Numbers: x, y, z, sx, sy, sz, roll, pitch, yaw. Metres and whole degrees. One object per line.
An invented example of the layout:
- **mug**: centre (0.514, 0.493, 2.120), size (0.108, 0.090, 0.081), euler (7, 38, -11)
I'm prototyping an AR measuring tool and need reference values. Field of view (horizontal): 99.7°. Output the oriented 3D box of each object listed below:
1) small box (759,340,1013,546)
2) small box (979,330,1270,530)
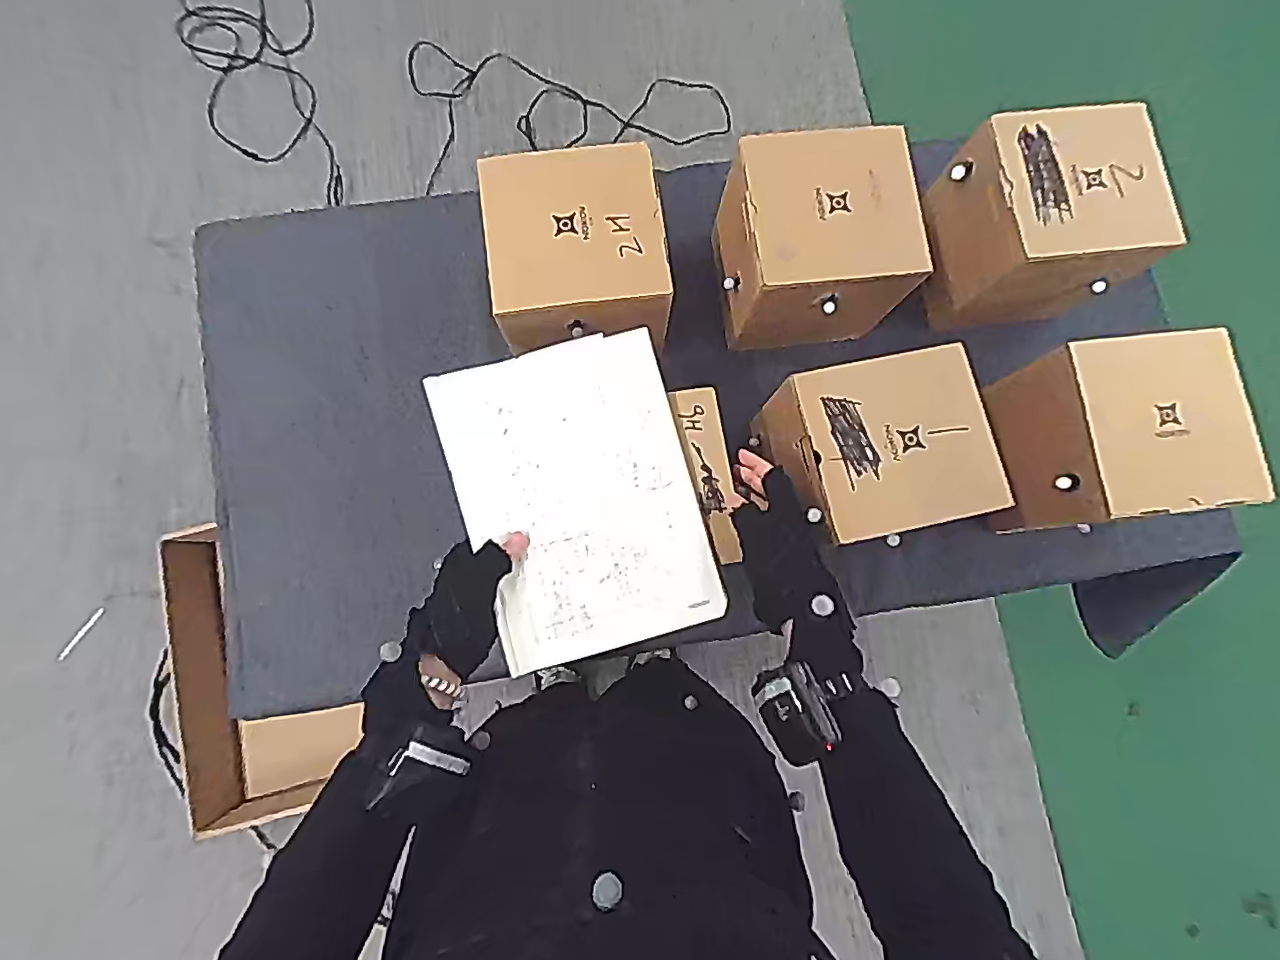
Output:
- **small box**: centre (0.239, -0.027, 0.580), size (0.179, 0.176, 0.168), euler (-11, 81, -5)
- **small box**: centre (0.500, -0.044, 0.597), size (0.168, 0.176, 0.179), euler (-5, 81, -3)
